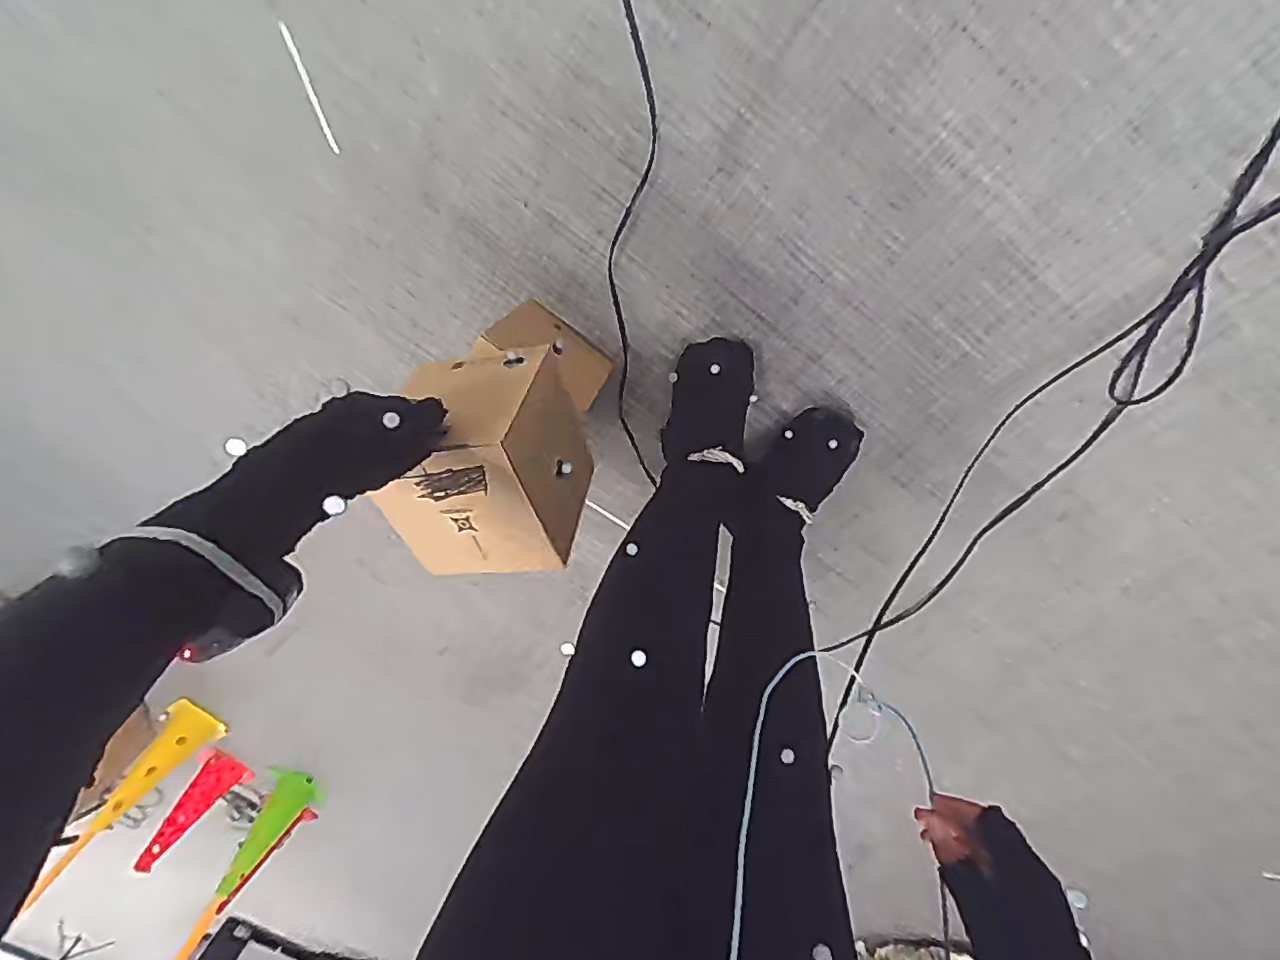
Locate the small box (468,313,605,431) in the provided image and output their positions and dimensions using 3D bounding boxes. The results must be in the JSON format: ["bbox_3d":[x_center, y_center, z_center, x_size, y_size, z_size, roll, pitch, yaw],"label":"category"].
[{"bbox_3d":[-0.168,-0.116,0.800,0.168,0.176,0.179,37,123,-13],"label":"small box"}]

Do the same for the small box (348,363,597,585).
[{"bbox_3d":[-0.159,-0.009,0.581,0.168,0.176,0.179,-6,134,17],"label":"small box"}]
